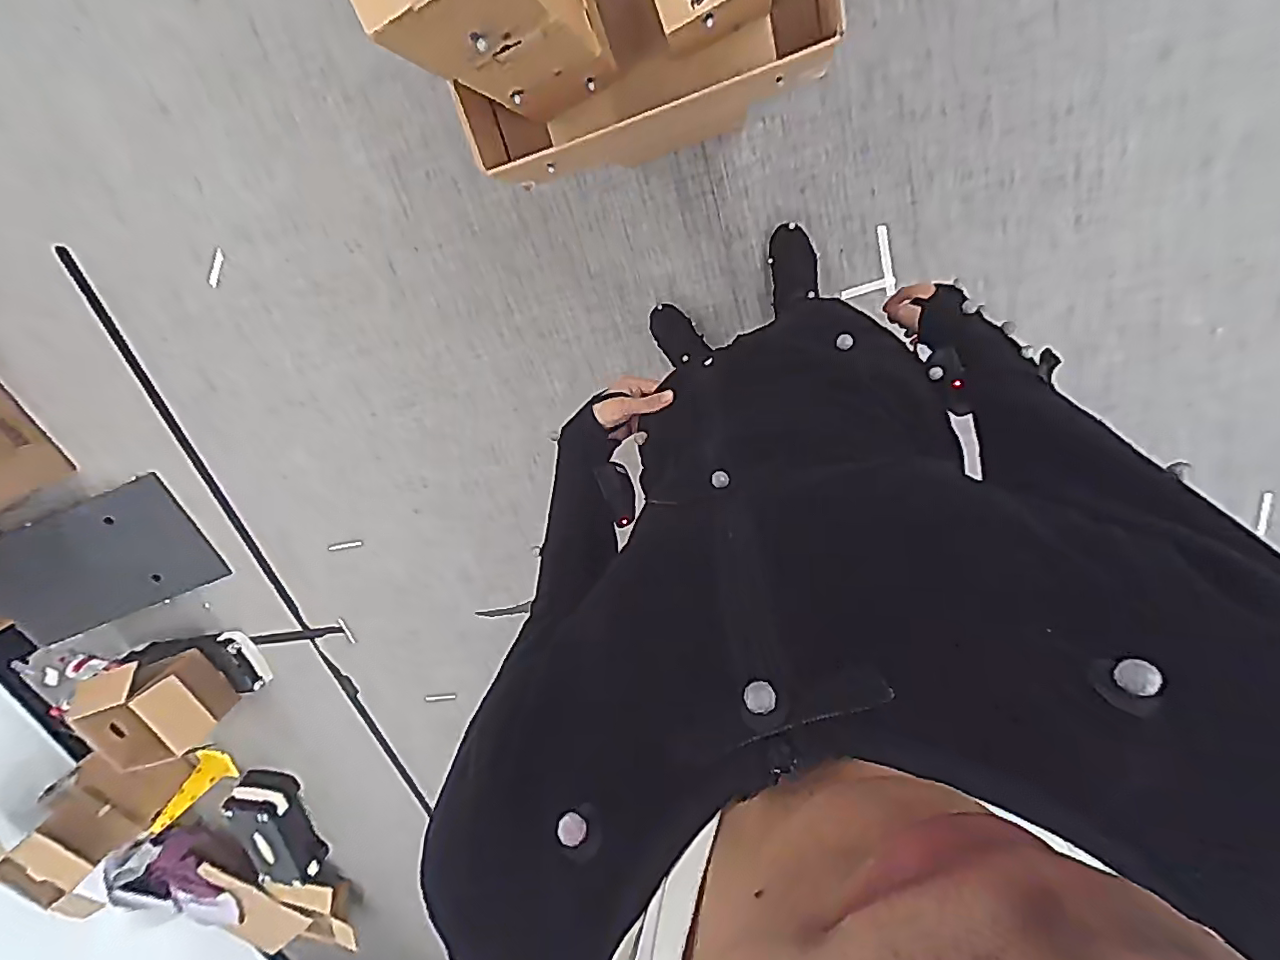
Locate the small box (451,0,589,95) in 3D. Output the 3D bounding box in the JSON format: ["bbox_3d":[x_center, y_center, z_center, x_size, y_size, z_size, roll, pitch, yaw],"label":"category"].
[{"bbox_3d":[-0.187,-0.661,0.740,0.168,0.176,0.179,-14,110,17],"label":"small box"}]

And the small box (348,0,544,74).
[{"bbox_3d":[-0.231,-0.597,0.593,0.168,0.176,0.179,-16,109,18],"label":"small box"}]
